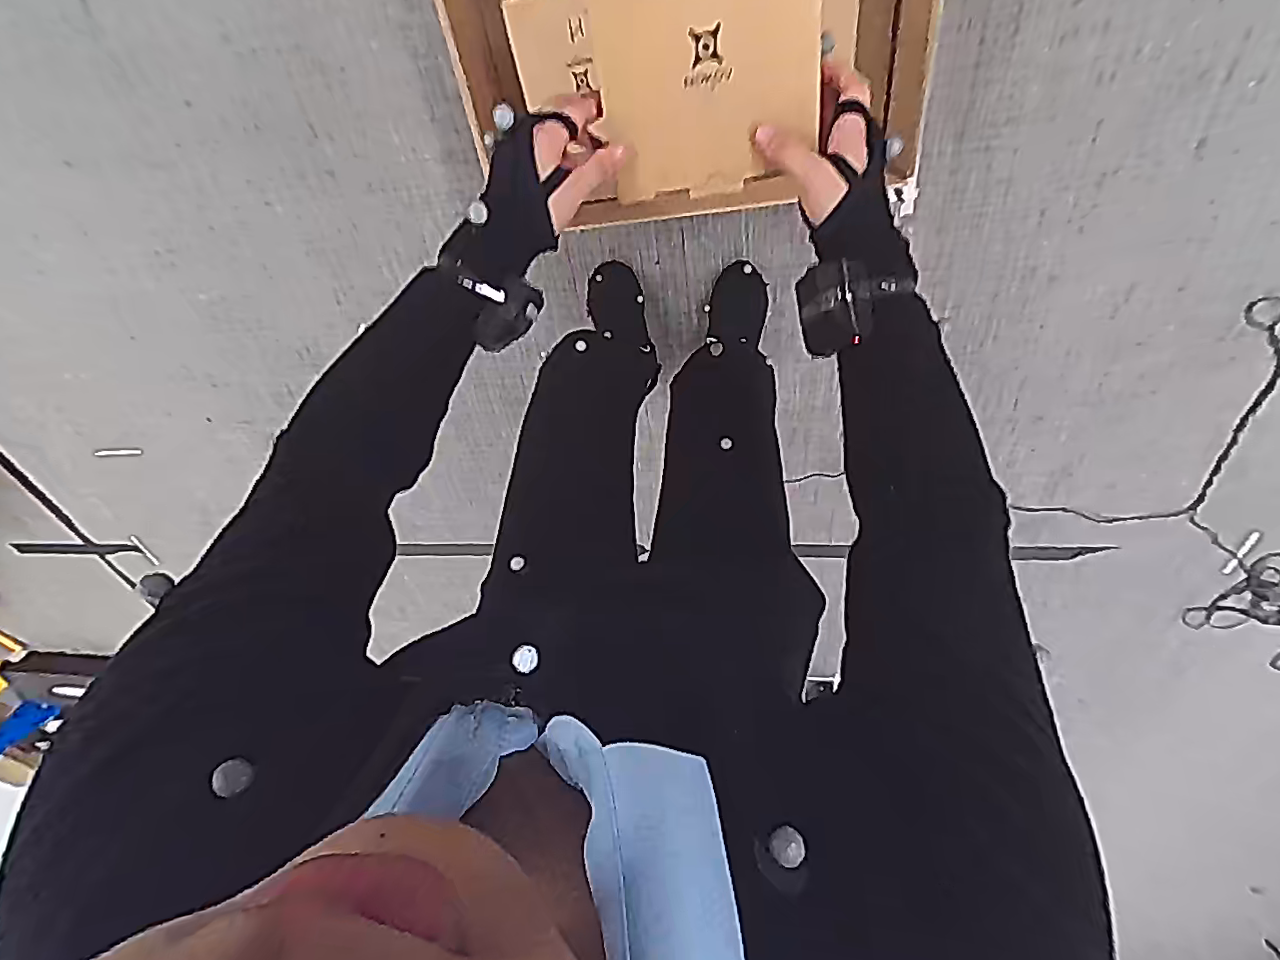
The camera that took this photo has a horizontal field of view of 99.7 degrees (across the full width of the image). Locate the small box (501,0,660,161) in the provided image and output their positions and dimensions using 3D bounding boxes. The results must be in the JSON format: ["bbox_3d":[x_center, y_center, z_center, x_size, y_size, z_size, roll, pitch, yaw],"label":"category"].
[{"bbox_3d":[-0.067,-0.570,0.753,0.168,0.176,0.179,-5,128,10],"label":"small box"}]
